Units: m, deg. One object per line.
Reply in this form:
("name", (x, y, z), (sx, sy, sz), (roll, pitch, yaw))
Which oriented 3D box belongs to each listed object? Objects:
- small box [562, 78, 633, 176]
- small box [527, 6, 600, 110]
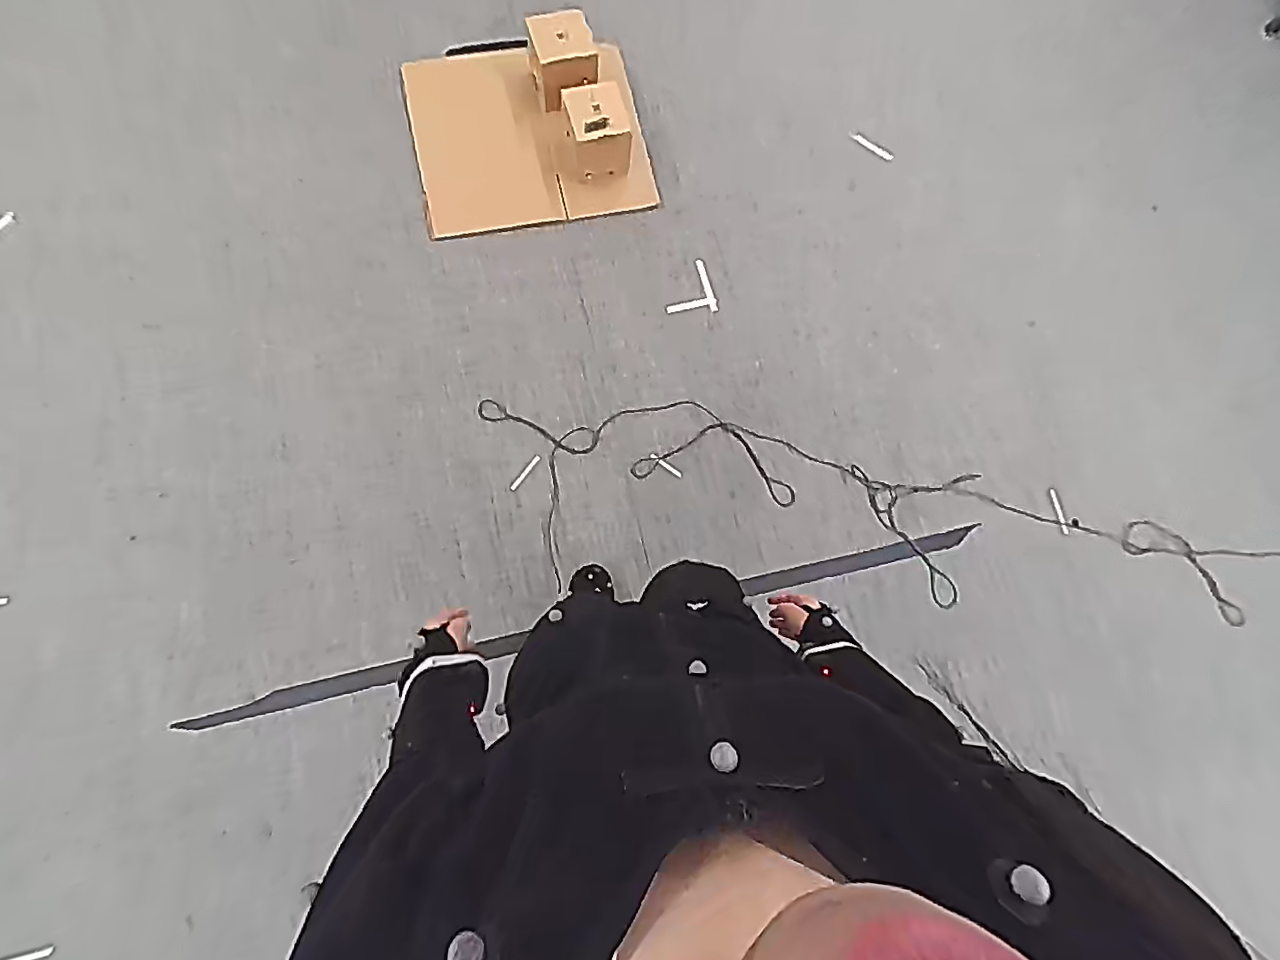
("small box", (-0.126, -1.033, 1.602), (0.168, 0.176, 0.179), (-16, 82, -8))
("small box", (-0.229, -1.270, 1.635), (0.179, 0.176, 0.168), (-18, 81, -8))
